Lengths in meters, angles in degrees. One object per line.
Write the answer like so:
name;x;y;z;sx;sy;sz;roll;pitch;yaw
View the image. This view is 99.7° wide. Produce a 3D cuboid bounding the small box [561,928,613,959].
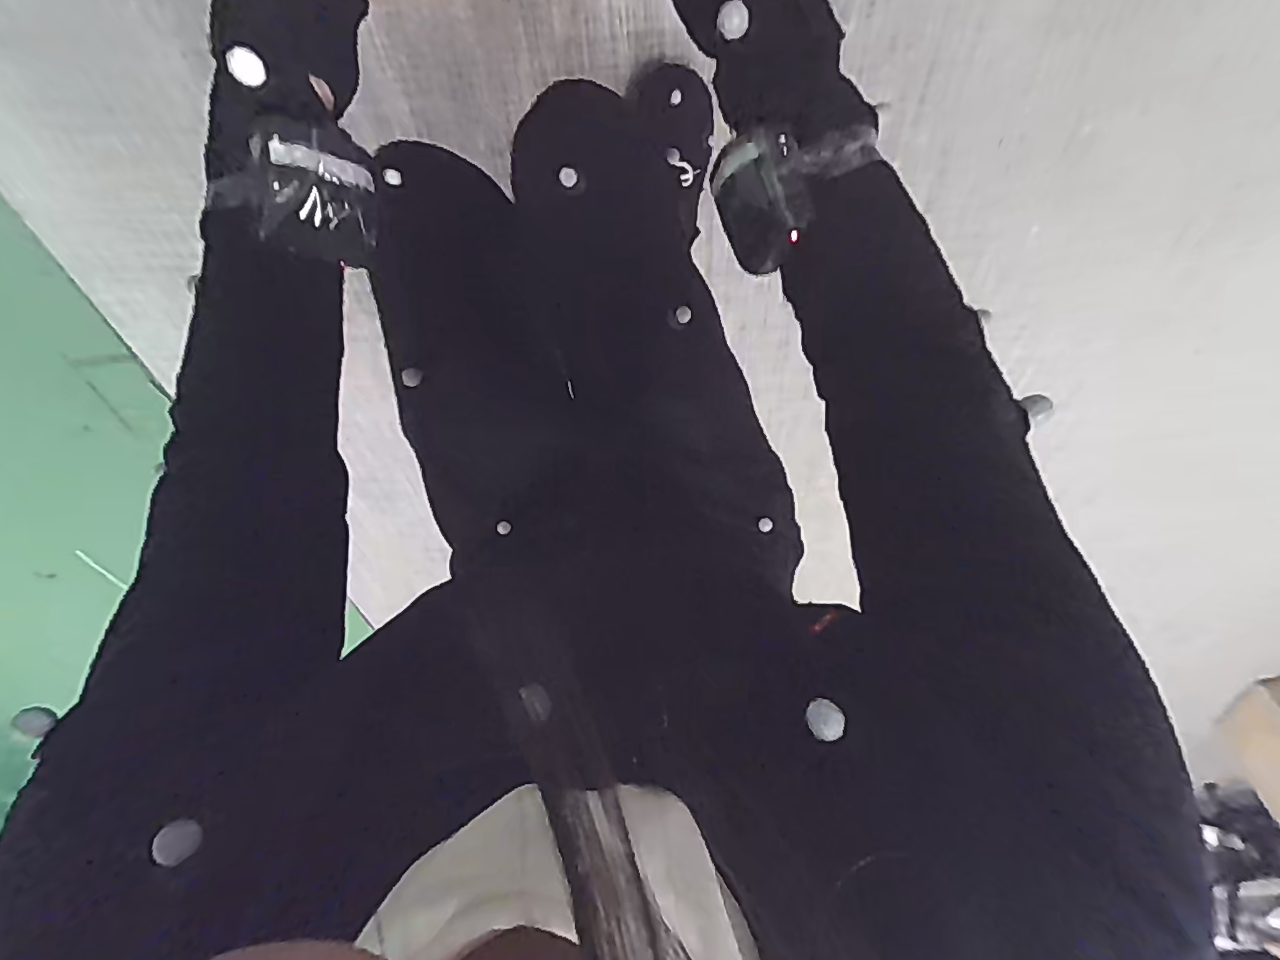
small box;-0.198;1.789;2.017;0.179;0.176;0.168;-4;138;4
